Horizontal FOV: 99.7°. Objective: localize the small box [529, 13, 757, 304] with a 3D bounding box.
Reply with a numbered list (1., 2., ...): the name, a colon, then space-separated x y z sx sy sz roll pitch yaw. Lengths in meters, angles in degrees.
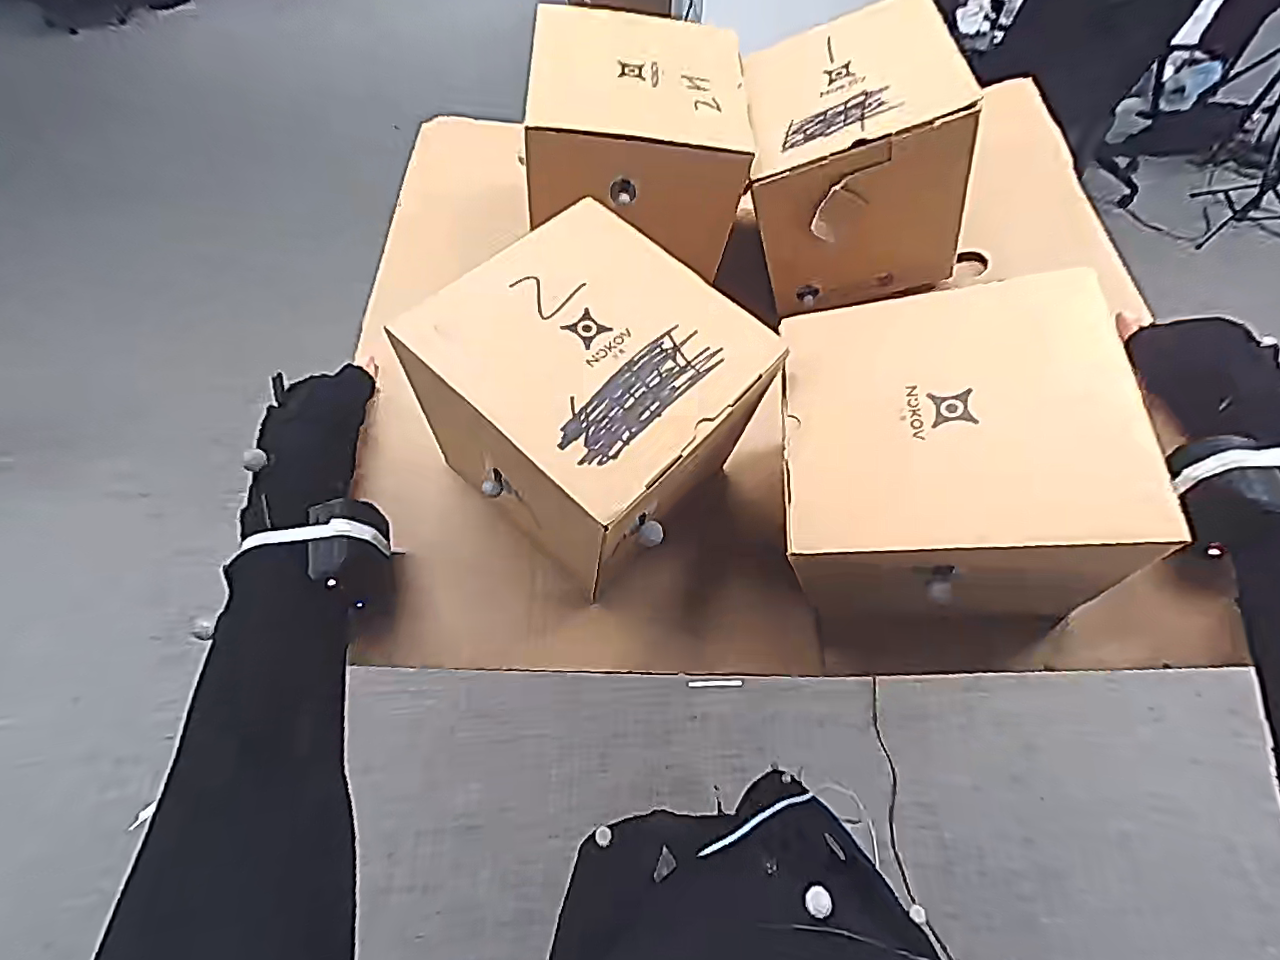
1. small box: -0.005 -0.289 0.510 0.179 0.176 0.168 3 65 -7
